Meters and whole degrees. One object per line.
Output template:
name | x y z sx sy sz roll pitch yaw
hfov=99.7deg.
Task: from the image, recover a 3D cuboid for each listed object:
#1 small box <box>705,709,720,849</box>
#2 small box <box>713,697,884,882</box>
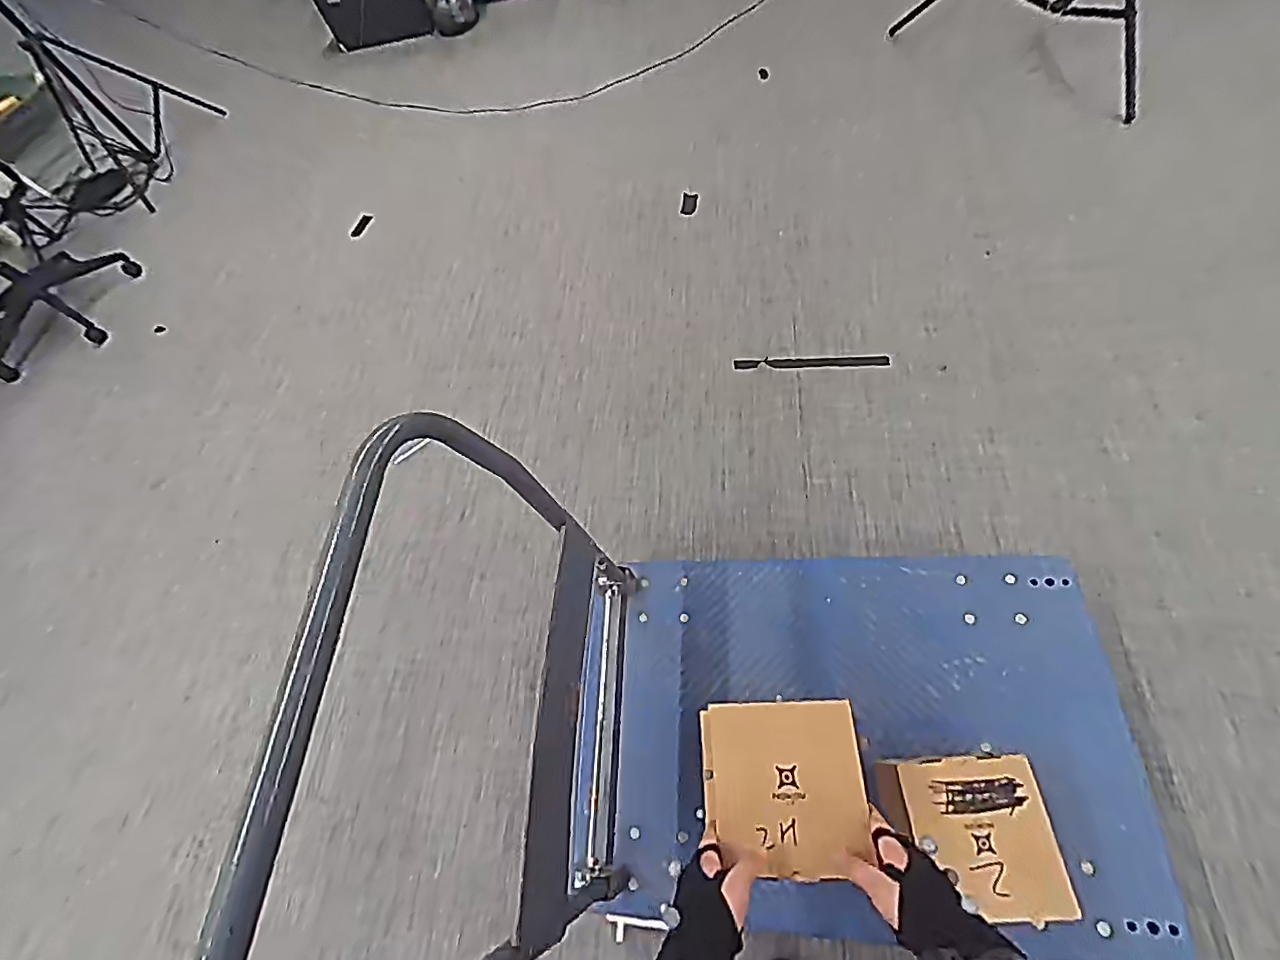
small box | 0.187 0.446 0.819 0.168 0.176 0.179 -5 63 9
small box | 0.181 0.372 0.665 0.168 0.176 0.179 -6 62 10
